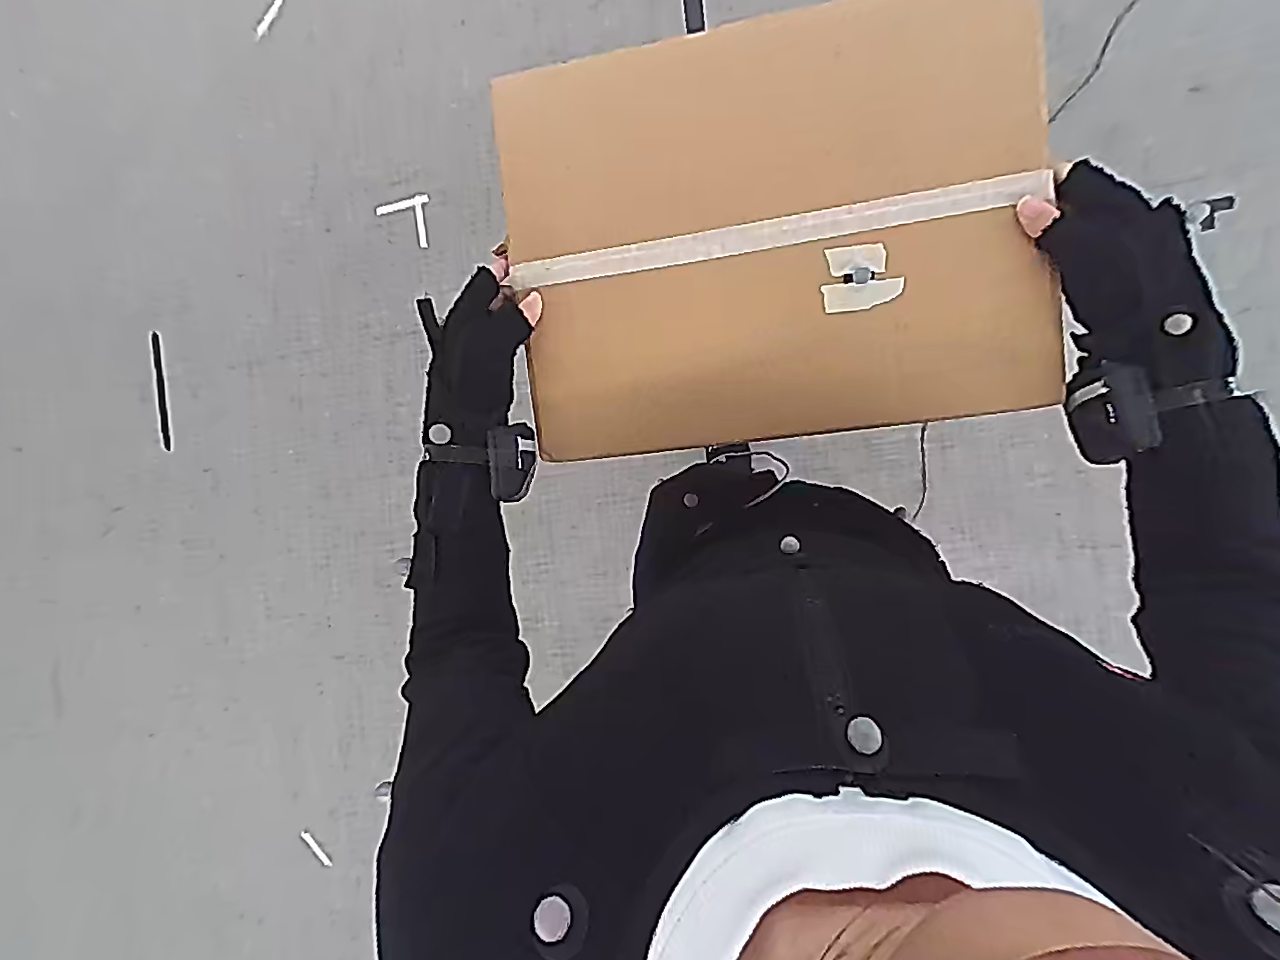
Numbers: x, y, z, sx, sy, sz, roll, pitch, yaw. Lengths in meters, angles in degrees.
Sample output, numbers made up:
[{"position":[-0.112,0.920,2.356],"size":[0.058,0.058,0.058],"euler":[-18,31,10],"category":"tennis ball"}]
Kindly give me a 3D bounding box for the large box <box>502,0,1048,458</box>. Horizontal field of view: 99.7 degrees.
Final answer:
[{"position":[0.117,-0.207,0.578],"size":[0.408,0.320,0.320],"euler":[-7,95,8],"category":"large box"}]
